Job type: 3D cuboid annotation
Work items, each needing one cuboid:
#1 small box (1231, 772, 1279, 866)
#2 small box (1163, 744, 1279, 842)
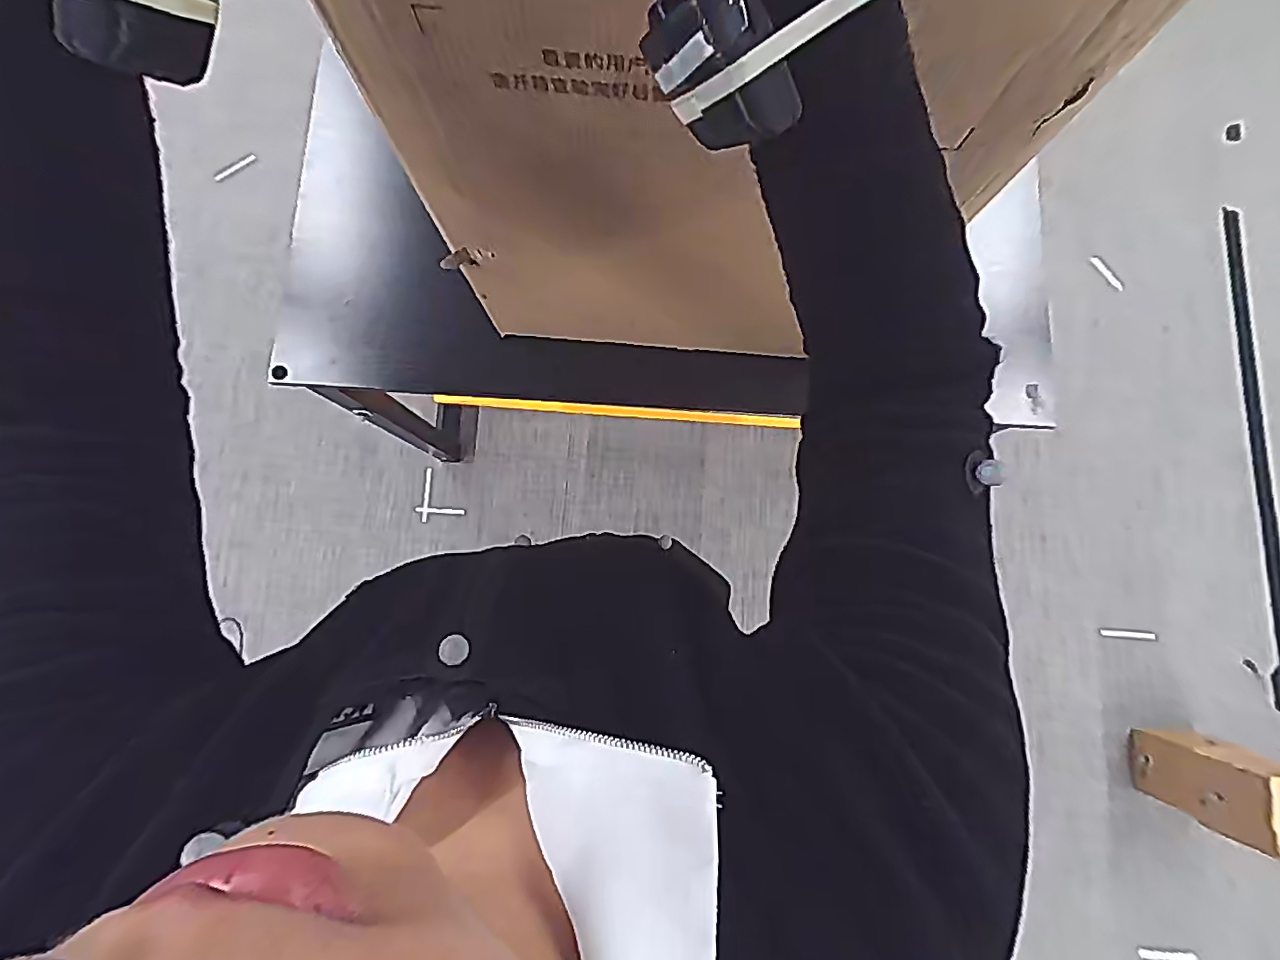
[{"bbox_3d":[1.437,0.738,1.149,0.179,0.176,0.168,3,81,-1],"label":"small box"},{"bbox_3d":[1.441,0.756,1.313,0.179,0.176,0.168,2,81,0],"label":"small box"}]
